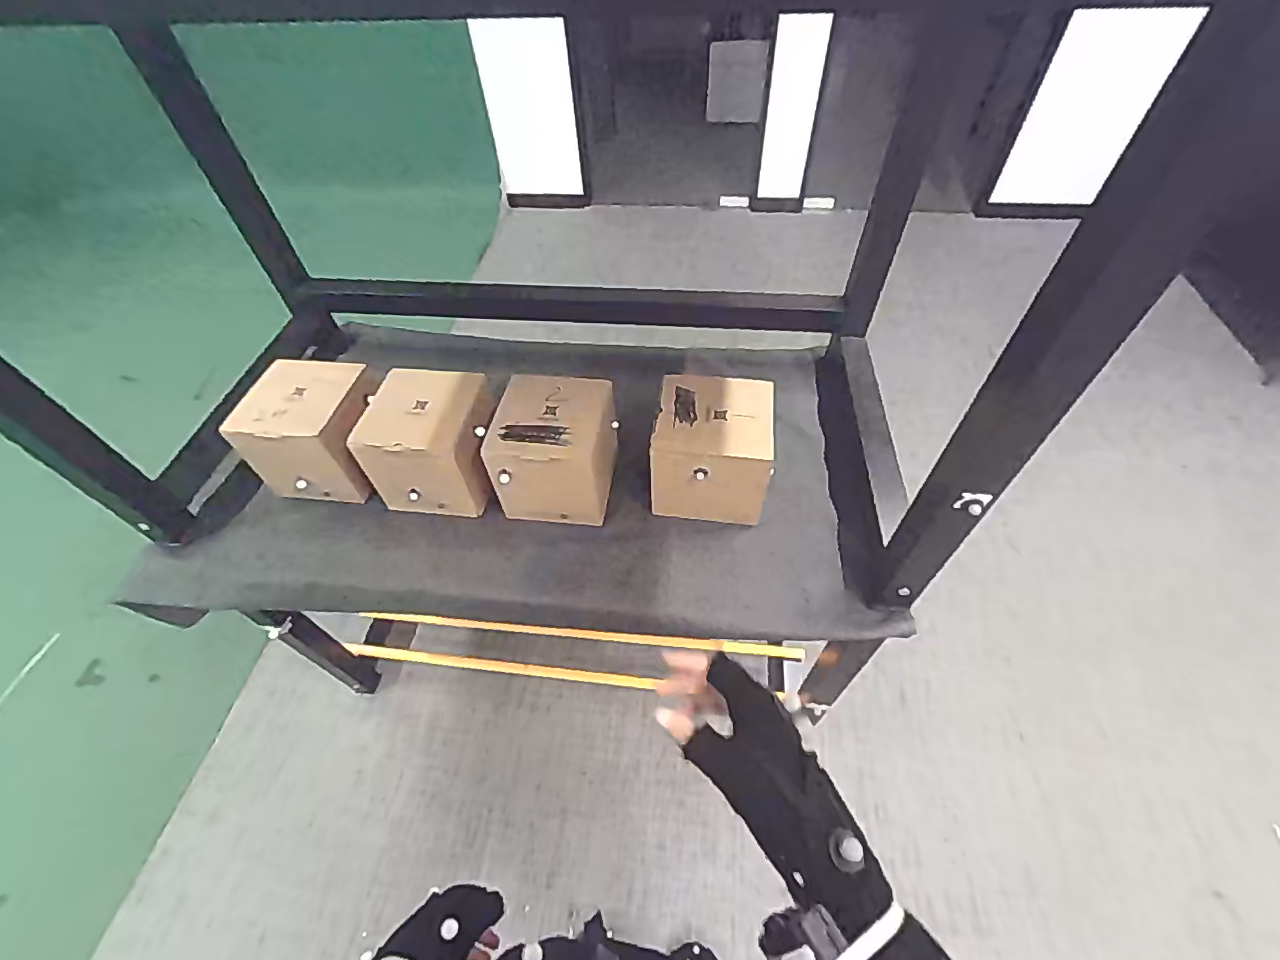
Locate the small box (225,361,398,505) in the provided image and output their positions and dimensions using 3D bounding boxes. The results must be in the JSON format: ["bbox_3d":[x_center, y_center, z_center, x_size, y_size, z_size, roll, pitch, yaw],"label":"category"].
[{"bbox_3d":[-0.545,-0.081,0.934,0.168,0.176,0.179,4,51,6],"label":"small box"}]

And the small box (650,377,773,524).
[{"bbox_3d":[0.114,-0.044,0.876,0.179,0.176,0.168,7,53,6],"label":"small box"}]
